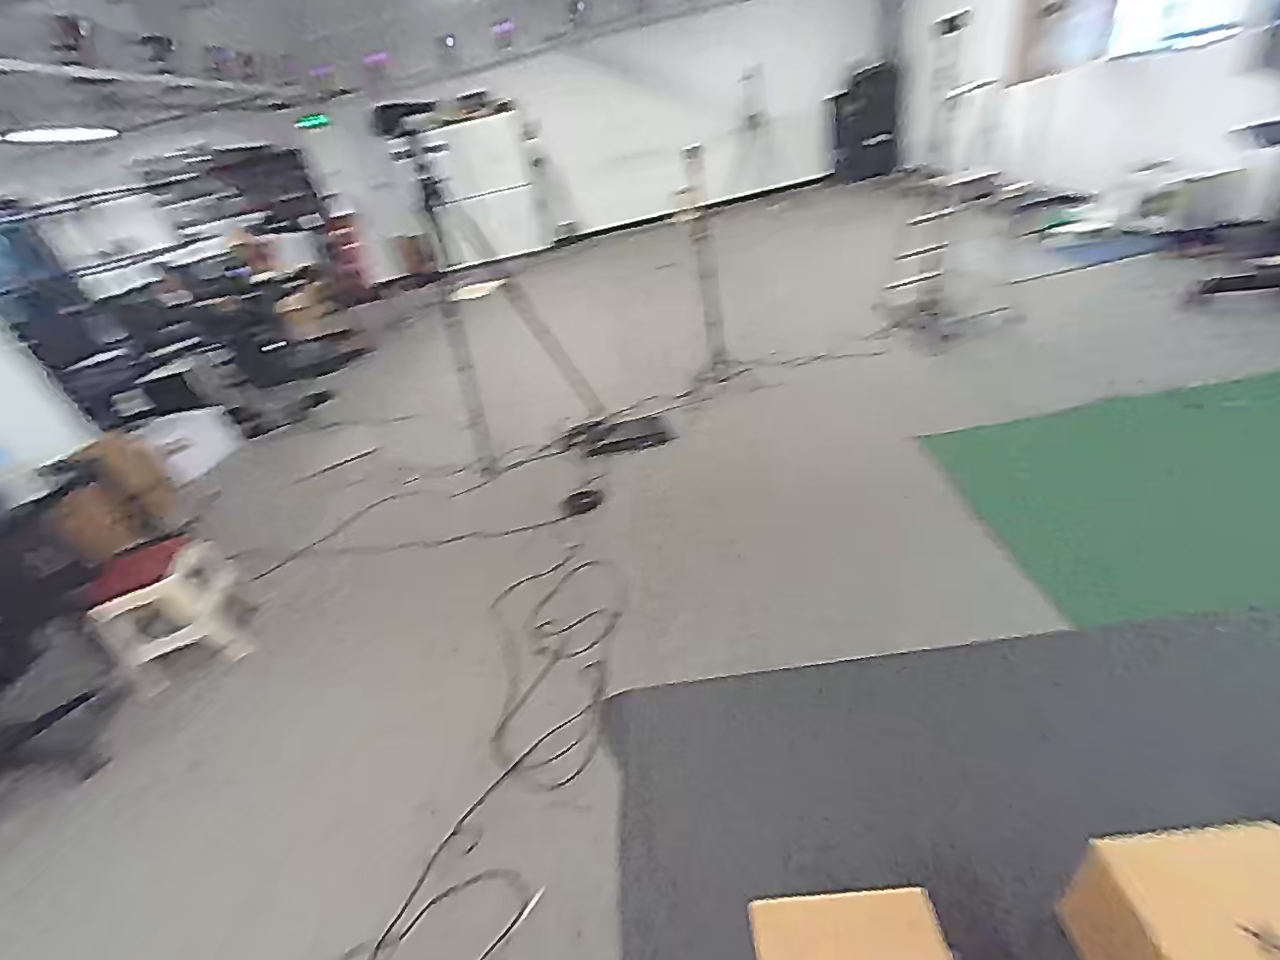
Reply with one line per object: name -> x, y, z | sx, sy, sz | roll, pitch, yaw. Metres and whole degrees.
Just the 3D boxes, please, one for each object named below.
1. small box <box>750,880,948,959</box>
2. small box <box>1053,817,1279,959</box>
small box -> 0.200, 0.507, 0.495 | 0.168, 0.176, 0.179 | -10, 34, 5
small box -> 0.525, 0.444, 0.491 | 0.168, 0.176, 0.179 | -9, 34, 4
